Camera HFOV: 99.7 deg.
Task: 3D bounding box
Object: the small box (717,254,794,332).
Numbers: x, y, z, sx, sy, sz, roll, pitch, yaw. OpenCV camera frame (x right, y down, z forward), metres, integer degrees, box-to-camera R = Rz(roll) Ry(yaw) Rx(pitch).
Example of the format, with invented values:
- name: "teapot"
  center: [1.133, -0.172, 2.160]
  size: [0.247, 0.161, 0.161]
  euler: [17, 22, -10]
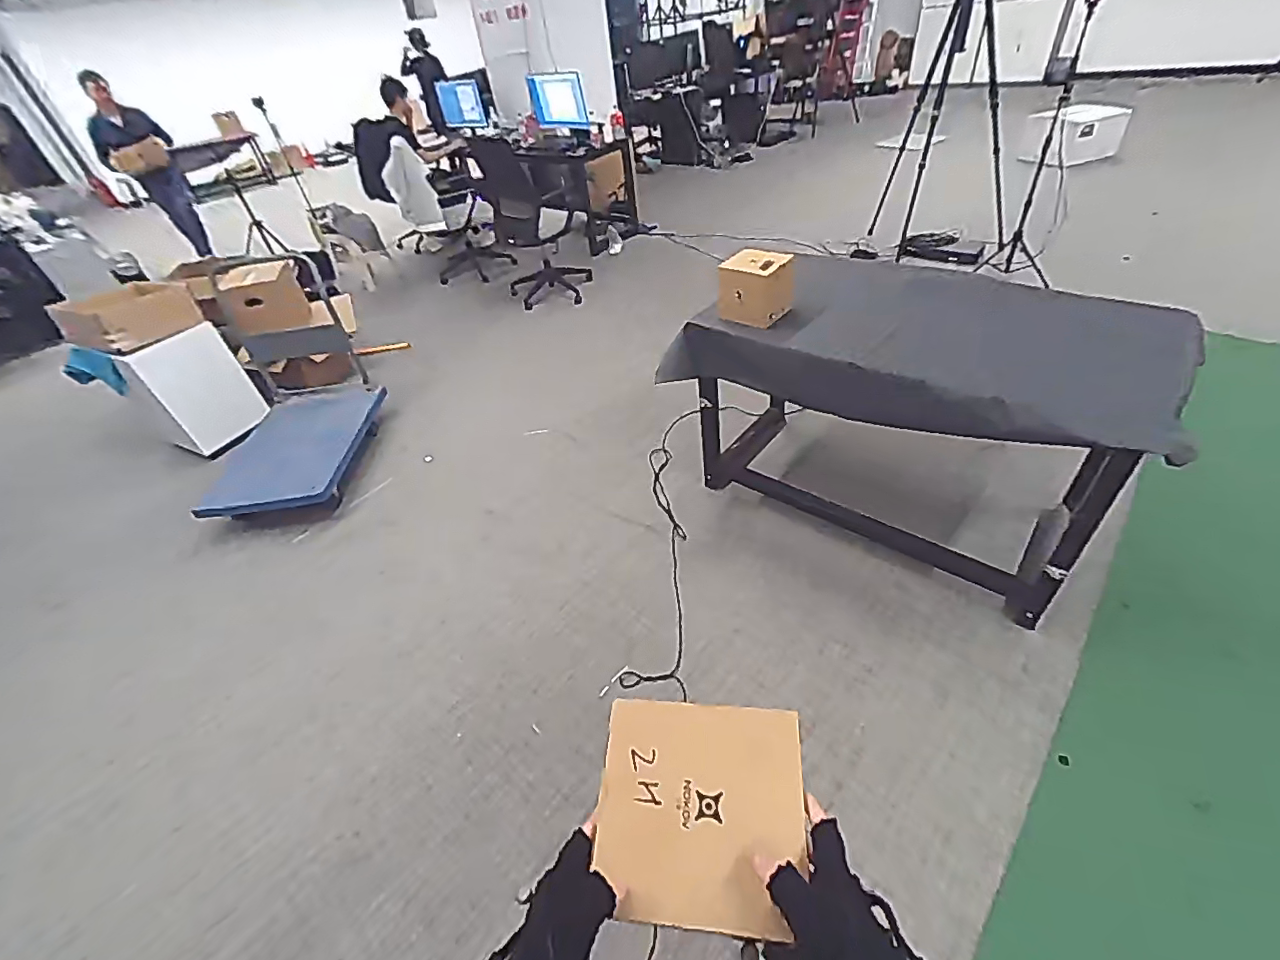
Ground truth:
- name: "small box"
  center: [0.357, -0.579, 1.677]
  size: [0.179, 0.176, 0.168]
  euler: [26, 51, 33]
